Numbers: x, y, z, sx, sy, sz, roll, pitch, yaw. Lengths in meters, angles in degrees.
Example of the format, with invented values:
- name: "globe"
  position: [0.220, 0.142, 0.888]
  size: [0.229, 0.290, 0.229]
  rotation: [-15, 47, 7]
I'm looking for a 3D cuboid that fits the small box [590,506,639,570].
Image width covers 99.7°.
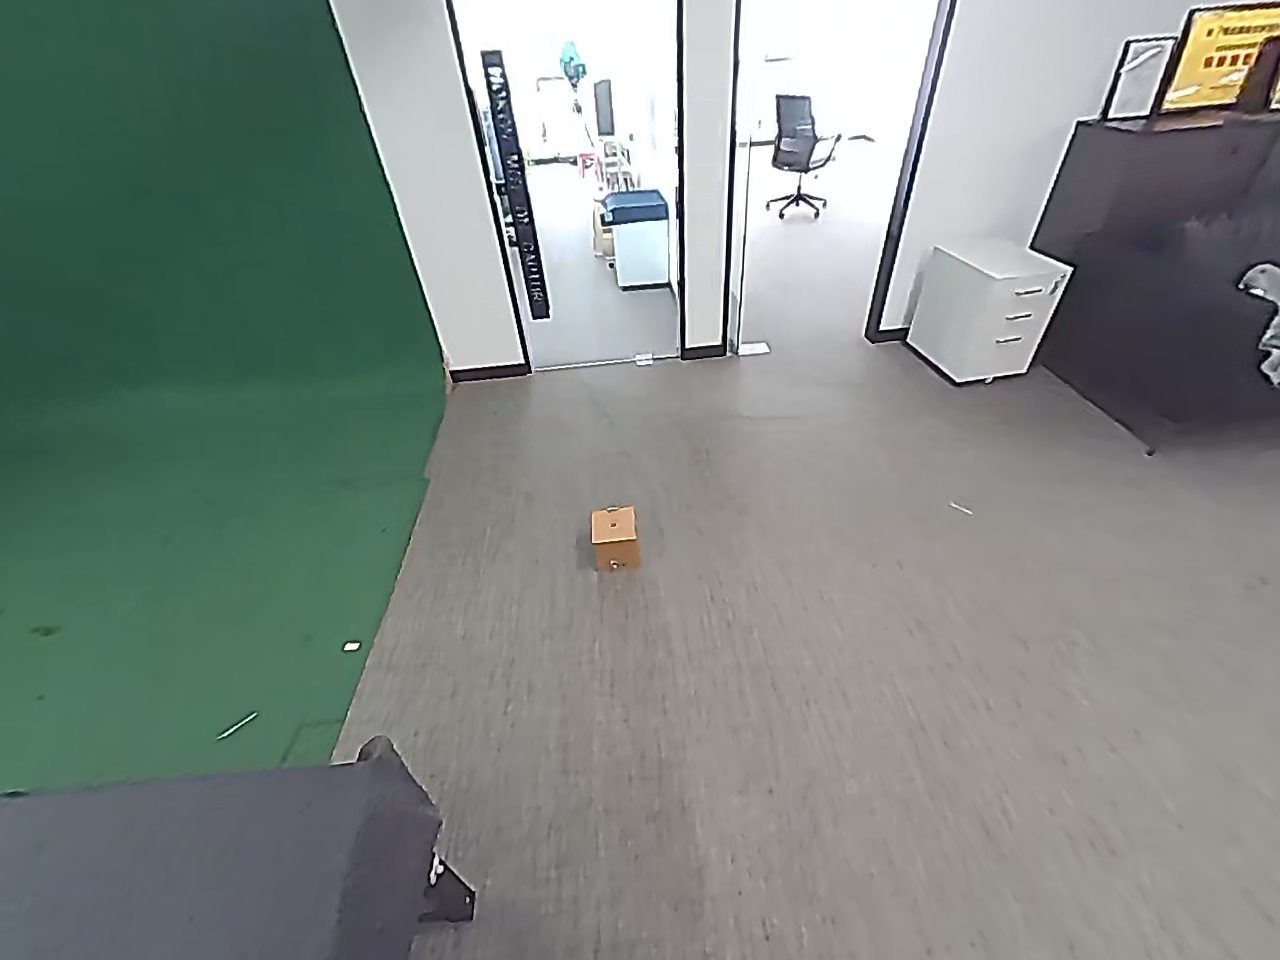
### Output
- name: "small box"
  position: [-0.095, 0.222, 2.079]
  size: [0.168, 0.176, 0.179]
  rotation: [-6, 40, 2]
